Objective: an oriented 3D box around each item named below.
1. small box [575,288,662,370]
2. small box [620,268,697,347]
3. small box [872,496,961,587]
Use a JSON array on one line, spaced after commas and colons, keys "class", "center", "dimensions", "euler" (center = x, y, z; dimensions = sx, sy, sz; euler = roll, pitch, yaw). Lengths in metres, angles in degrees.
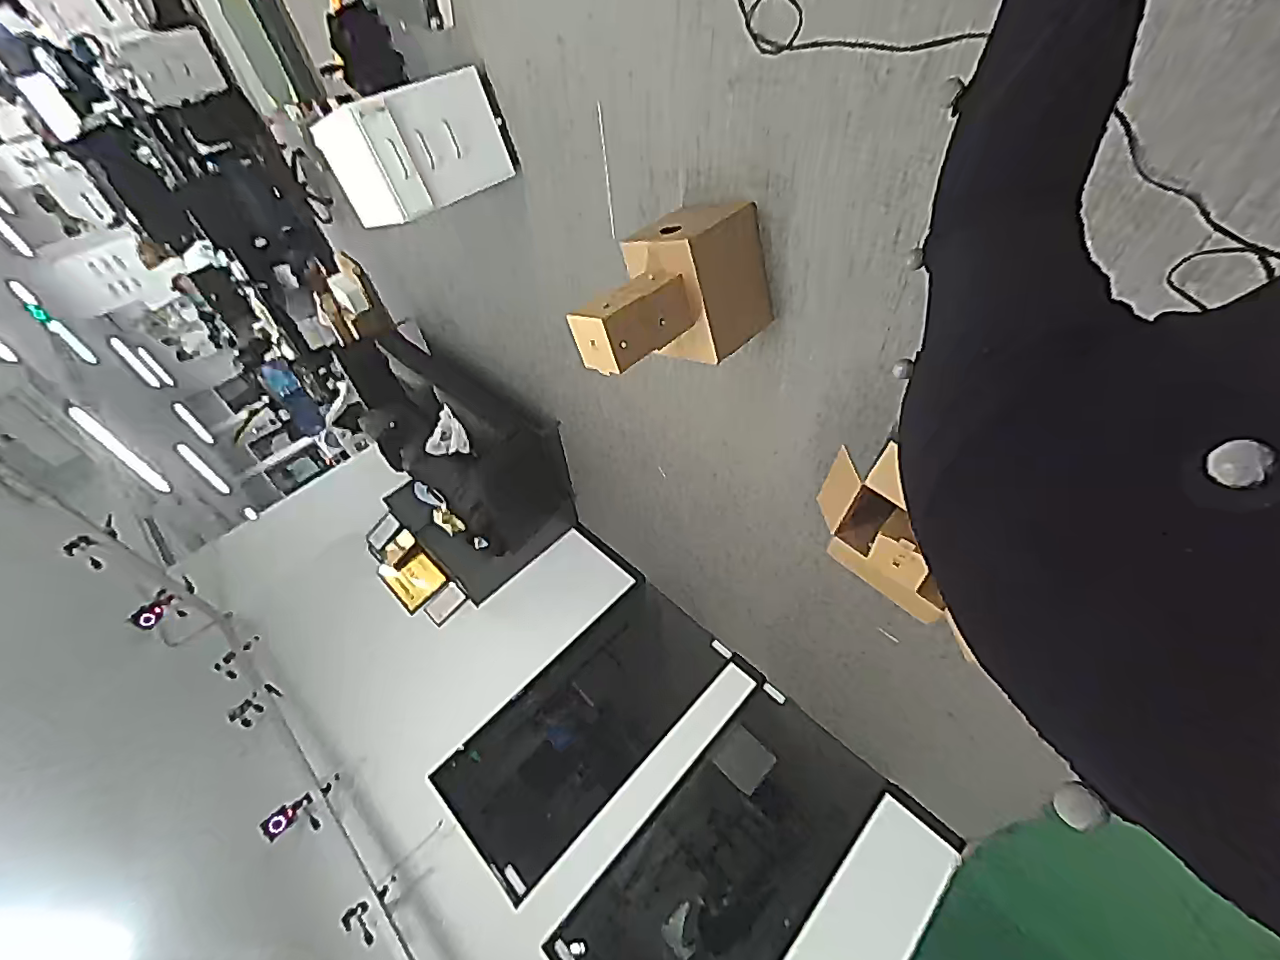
[{"class": "small box", "center": [-0.060, -0.456, 1.609], "dimensions": [0.168, 0.176, 0.179], "euler": [23, 144, 43]}, {"class": "small box", "center": [0.056, -0.541, 1.686], "dimensions": [0.168, 0.176, 0.179], "euler": [23, 143, 44]}, {"class": "small box", "center": [0.842, 0.184, 1.647], "dimensions": [0.168, 0.176, 0.179], "euler": [33, 150, 29]}]
